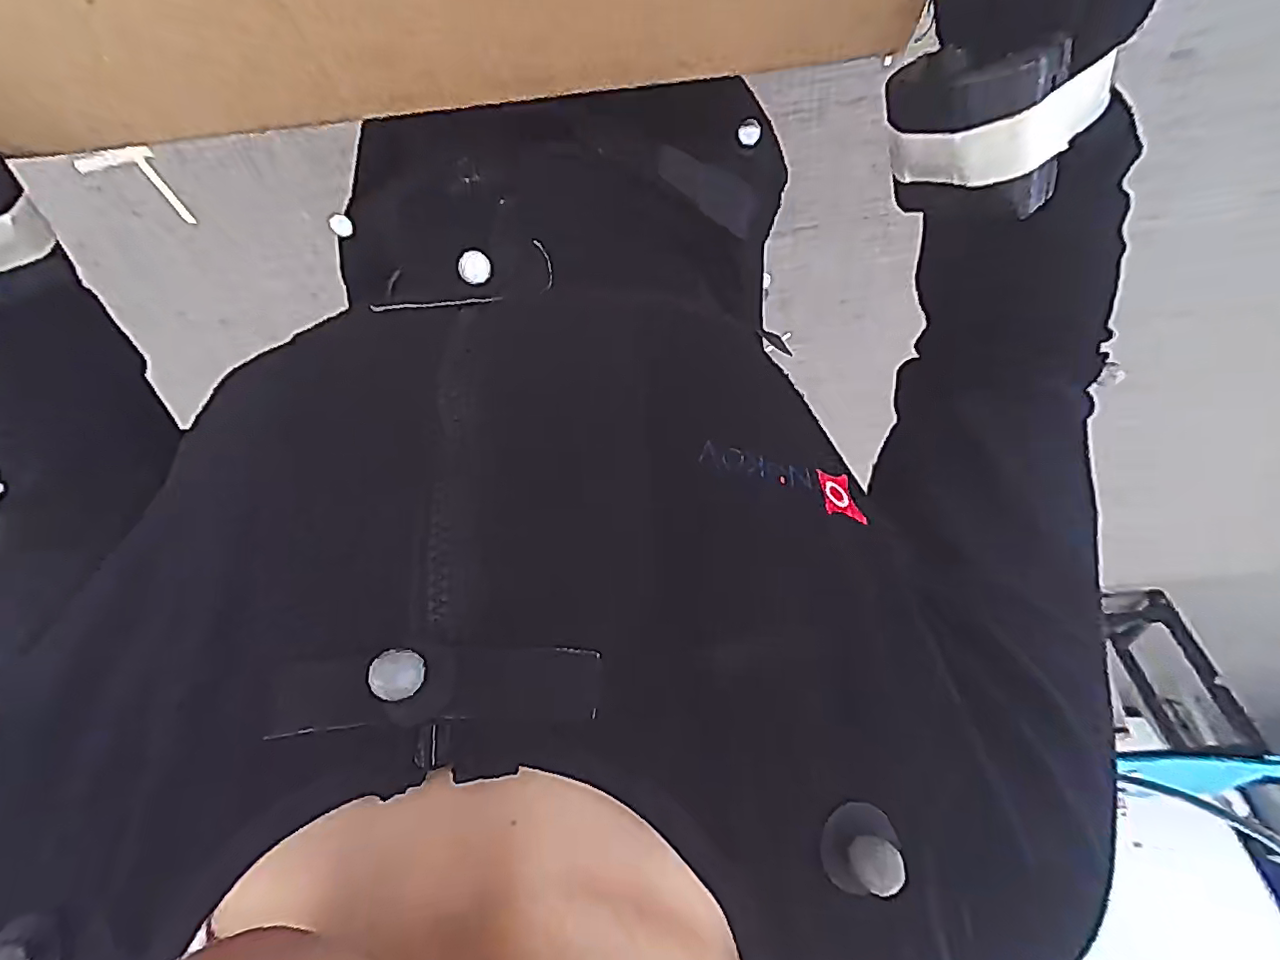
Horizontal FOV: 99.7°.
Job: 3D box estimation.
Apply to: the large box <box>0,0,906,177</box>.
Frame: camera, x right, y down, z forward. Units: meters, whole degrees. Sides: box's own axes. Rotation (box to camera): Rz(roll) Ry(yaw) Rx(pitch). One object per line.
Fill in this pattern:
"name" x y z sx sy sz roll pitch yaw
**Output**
"large box" -0.109 -0.351 0.146 0.408 0.320 0.320 -6 163 2
